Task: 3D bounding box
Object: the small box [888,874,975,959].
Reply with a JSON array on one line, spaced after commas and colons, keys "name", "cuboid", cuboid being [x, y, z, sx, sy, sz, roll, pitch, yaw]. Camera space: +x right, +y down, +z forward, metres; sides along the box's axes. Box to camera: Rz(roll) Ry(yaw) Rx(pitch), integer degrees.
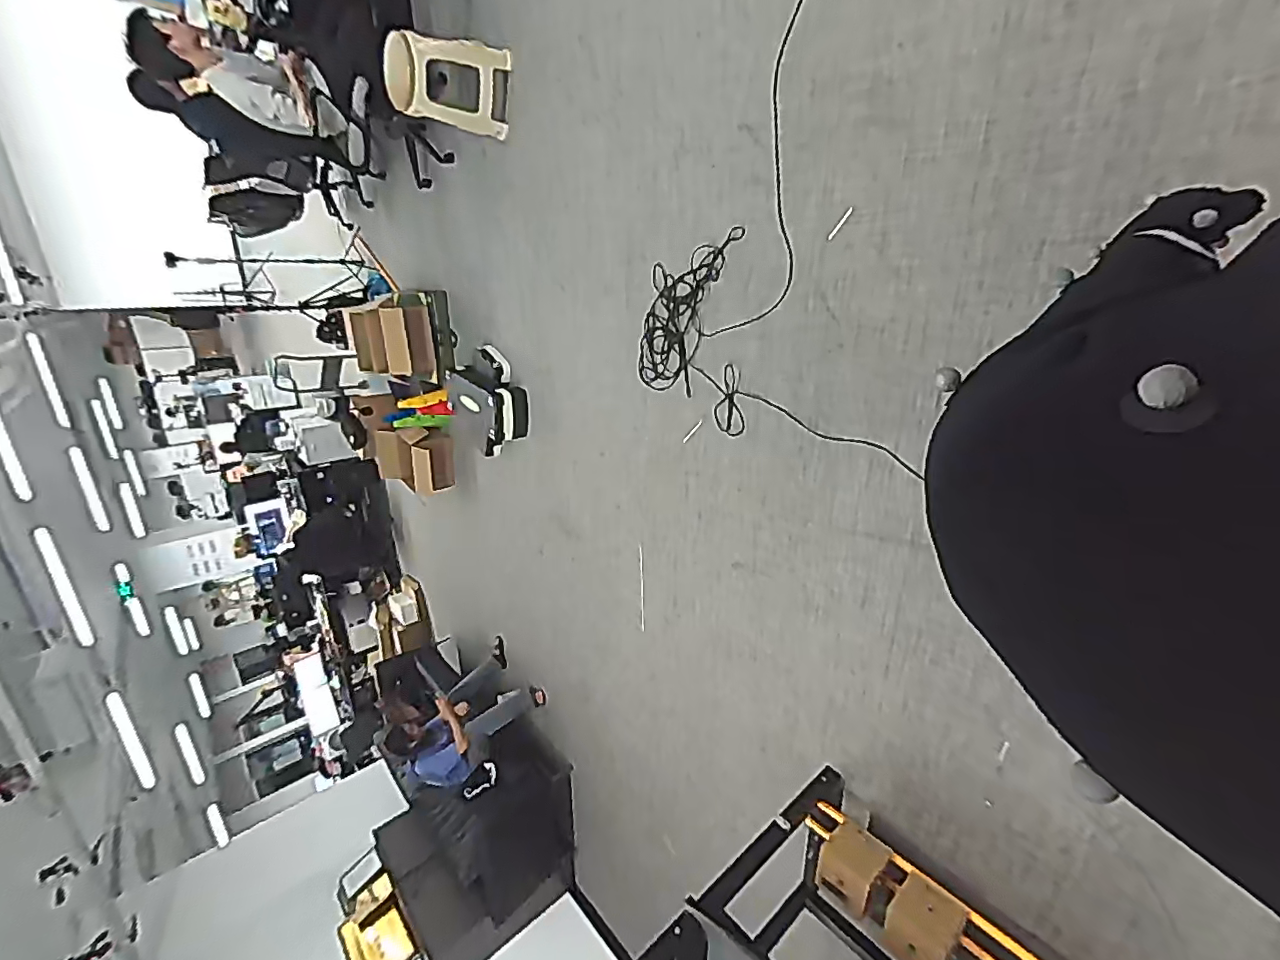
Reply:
[{"name": "small box", "cuboid": [0.865, 1.332, 1.600, 0.168, 0.176, 0.179, 20, 118, 46]}]
